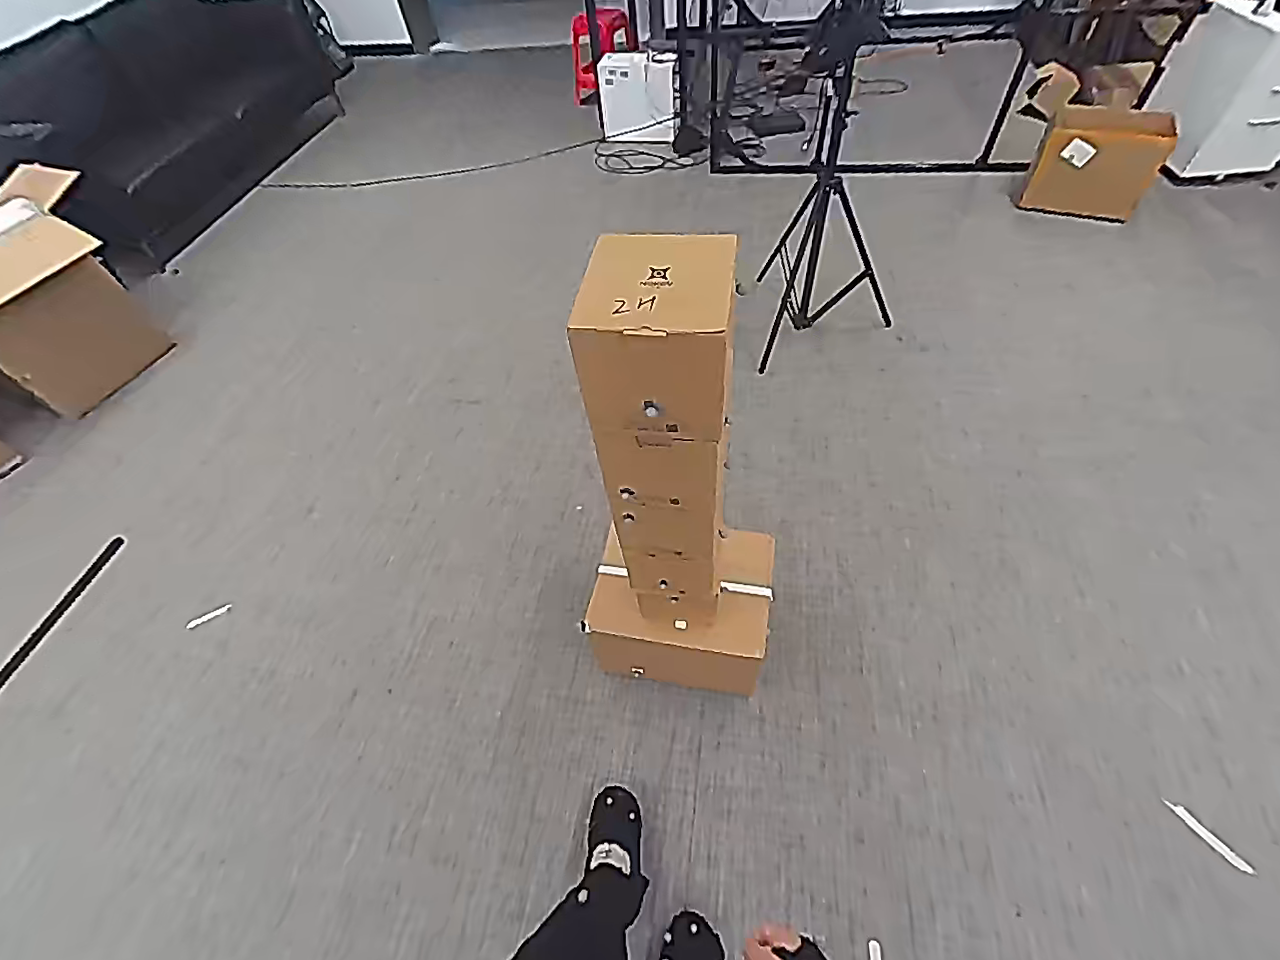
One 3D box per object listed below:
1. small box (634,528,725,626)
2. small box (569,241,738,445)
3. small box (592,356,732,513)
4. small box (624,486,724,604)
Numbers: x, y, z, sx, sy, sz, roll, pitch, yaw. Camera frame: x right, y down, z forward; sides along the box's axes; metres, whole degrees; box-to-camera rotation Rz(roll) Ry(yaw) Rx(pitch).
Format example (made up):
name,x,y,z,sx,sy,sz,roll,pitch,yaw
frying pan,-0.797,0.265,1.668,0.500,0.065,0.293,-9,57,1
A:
name,x,y,z,sx,sy,sz,roll,pitch,yaw
small box,0.091,0.210,1.190,0.179,0.176,0.168,5,55,9
small box,0.026,-0.166,0.657,0.168,0.176,0.179,4,55,10
small box,0.042,-0.071,0.791,0.168,0.176,0.179,7,55,11
small box,0.071,0.120,1.057,0.168,0.176,0.179,5,55,10
